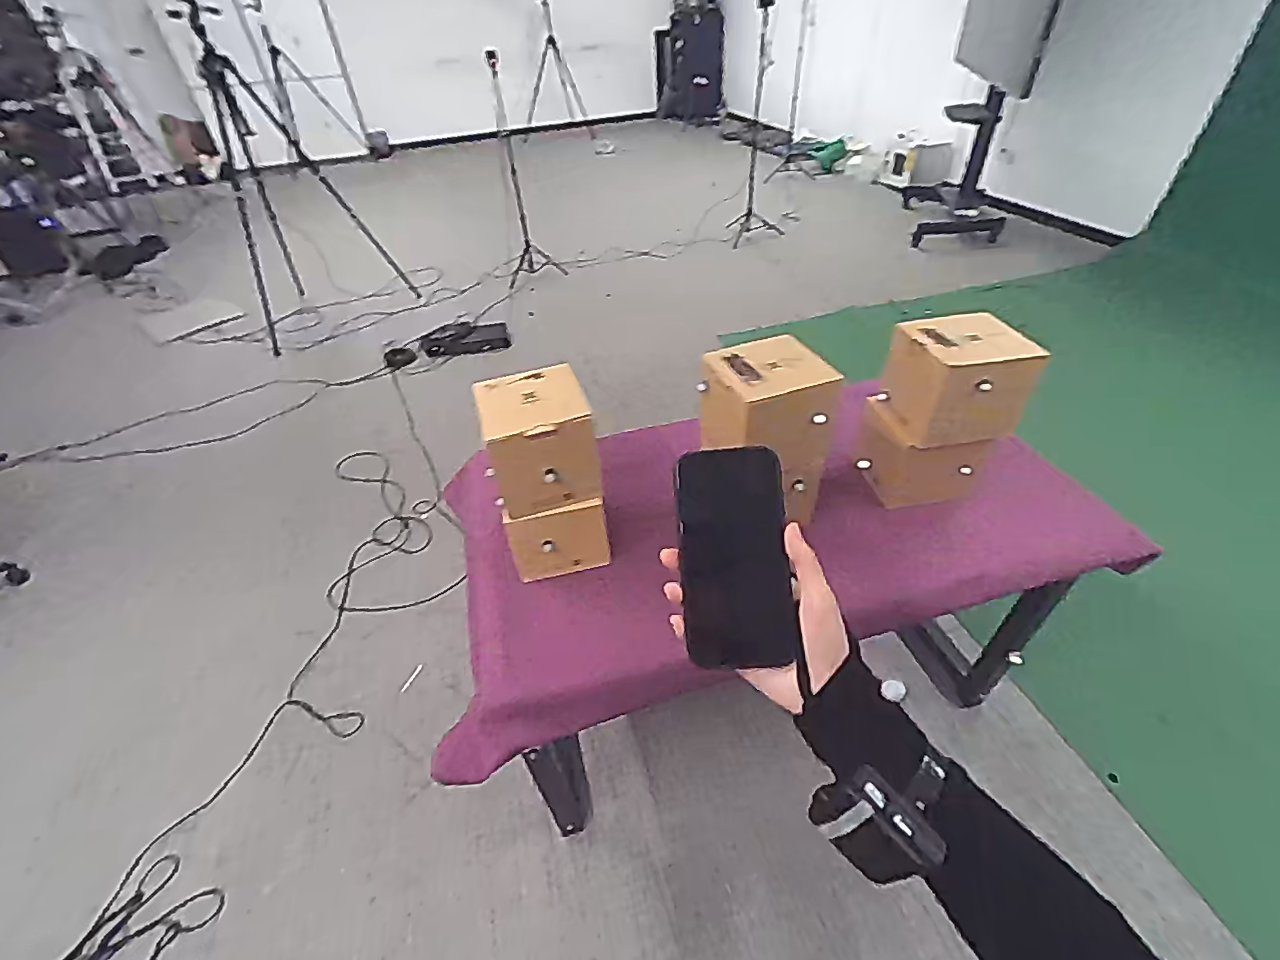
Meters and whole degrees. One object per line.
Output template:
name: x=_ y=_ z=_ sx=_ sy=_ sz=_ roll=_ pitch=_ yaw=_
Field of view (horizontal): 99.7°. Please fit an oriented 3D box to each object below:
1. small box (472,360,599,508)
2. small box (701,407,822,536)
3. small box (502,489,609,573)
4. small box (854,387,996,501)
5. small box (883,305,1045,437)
small box: x=-0.172 y=-0.072 z=0.907 sx=0.168 sy=0.176 sz=0.179 roll=-15 pitch=43 yaw=-12
small box: x=0.224 y=-0.016 z=1.048 sx=0.179 sy=0.176 sz=0.168 roll=-12 pitch=42 yaw=-8
small box: x=-0.158 y=0.055 z=1.011 sx=0.168 sy=0.176 sz=0.179 roll=-12 pitch=42 yaw=-7
small box: x=0.557 y=-0.079 z=1.085 sx=0.179 sy=0.176 sz=0.168 roll=-8 pitch=41 yaw=-3
small box: x=0.558 y=-0.192 z=0.966 sx=0.179 sy=0.176 sz=0.168 roll=-8 pitch=41 yaw=-4
